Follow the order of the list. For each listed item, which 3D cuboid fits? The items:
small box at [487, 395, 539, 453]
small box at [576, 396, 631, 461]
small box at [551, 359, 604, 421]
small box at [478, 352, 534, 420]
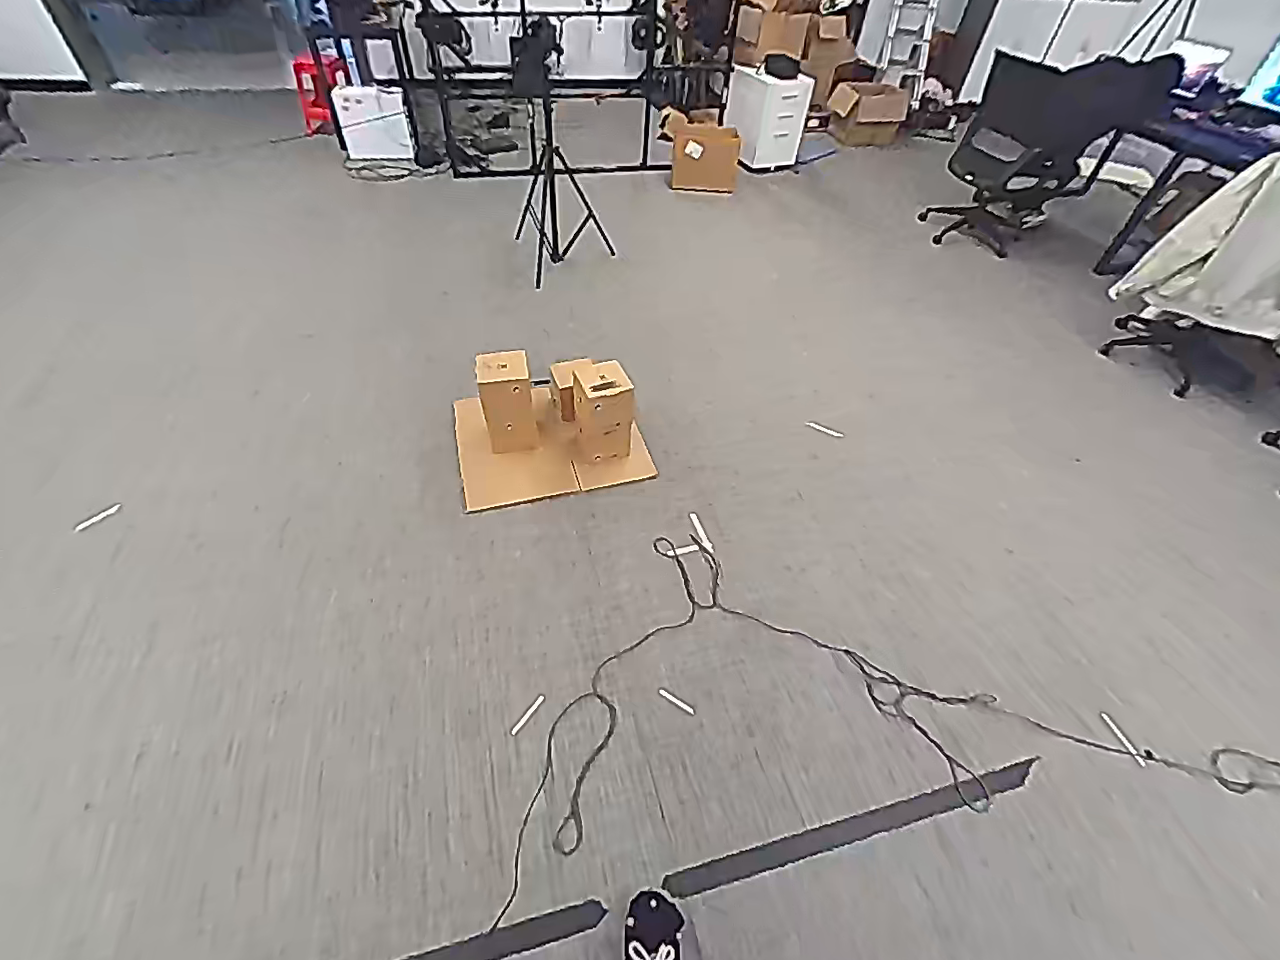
[{"bbox_3d":[-0.480,-0.222,2.043,0.179,0.176,0.168,-9,49,-11],"label":"small box"},{"bbox_3d":[-0.137,-0.188,2.038,0.168,0.176,0.179,-14,50,-16],"label":"small box"},{"bbox_3d":[-0.253,-0.364,2.191,0.179,0.176,0.168,-15,49,-16],"label":"small box"},{"bbox_3d":[-0.474,-0.333,1.922,0.179,0.176,0.168,-8,49,-10],"label":"small box"}]
